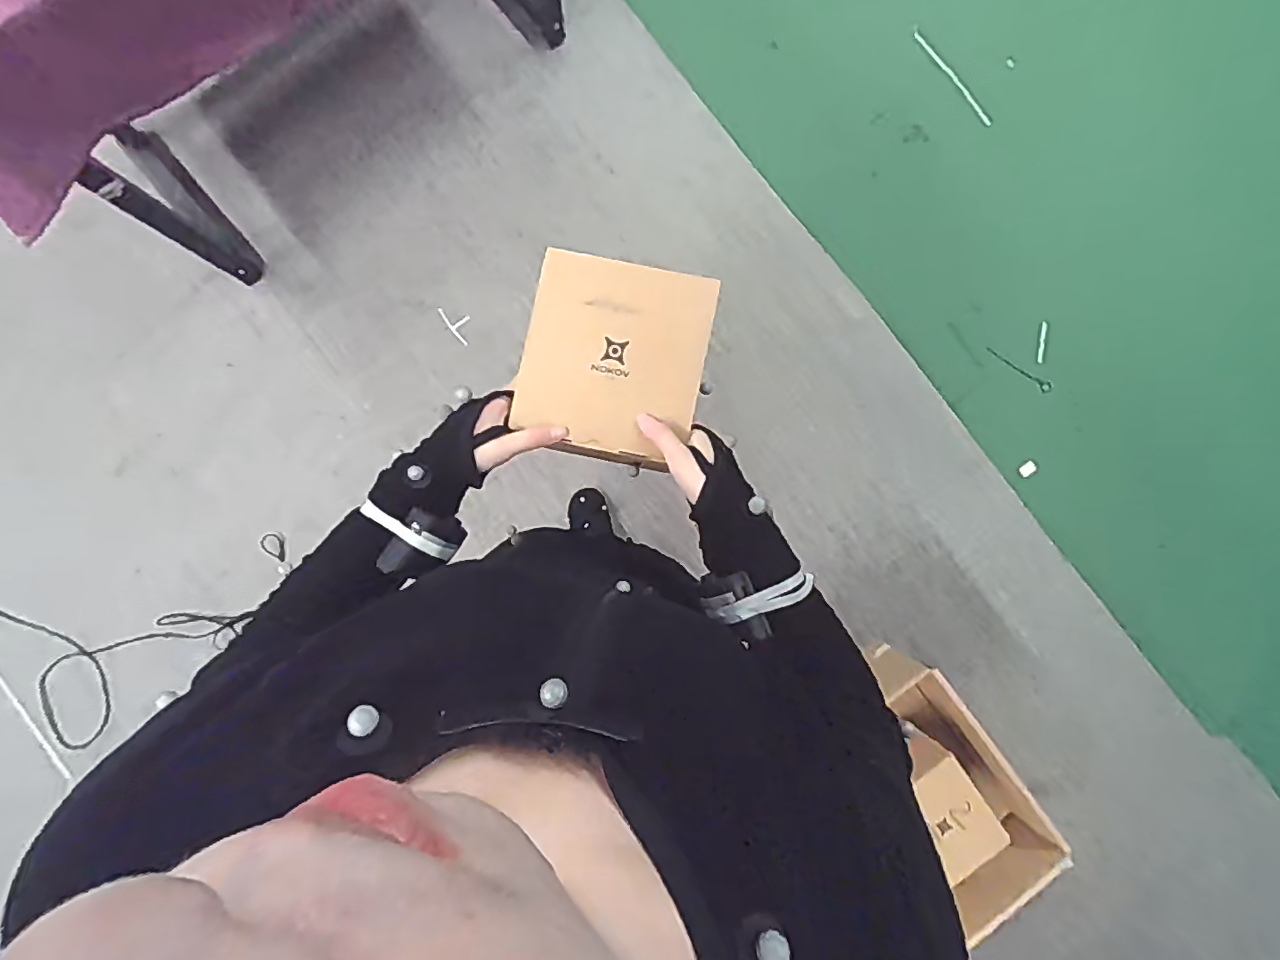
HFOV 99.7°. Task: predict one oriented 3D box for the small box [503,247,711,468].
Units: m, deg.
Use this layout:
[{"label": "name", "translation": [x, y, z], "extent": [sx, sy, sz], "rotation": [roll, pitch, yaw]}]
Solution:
[{"label": "small box", "translation": [-0.028, -0.113, 0.576], "extent": [0.168, 0.176, 0.179], "rotation": [12, 88, 2]}]
